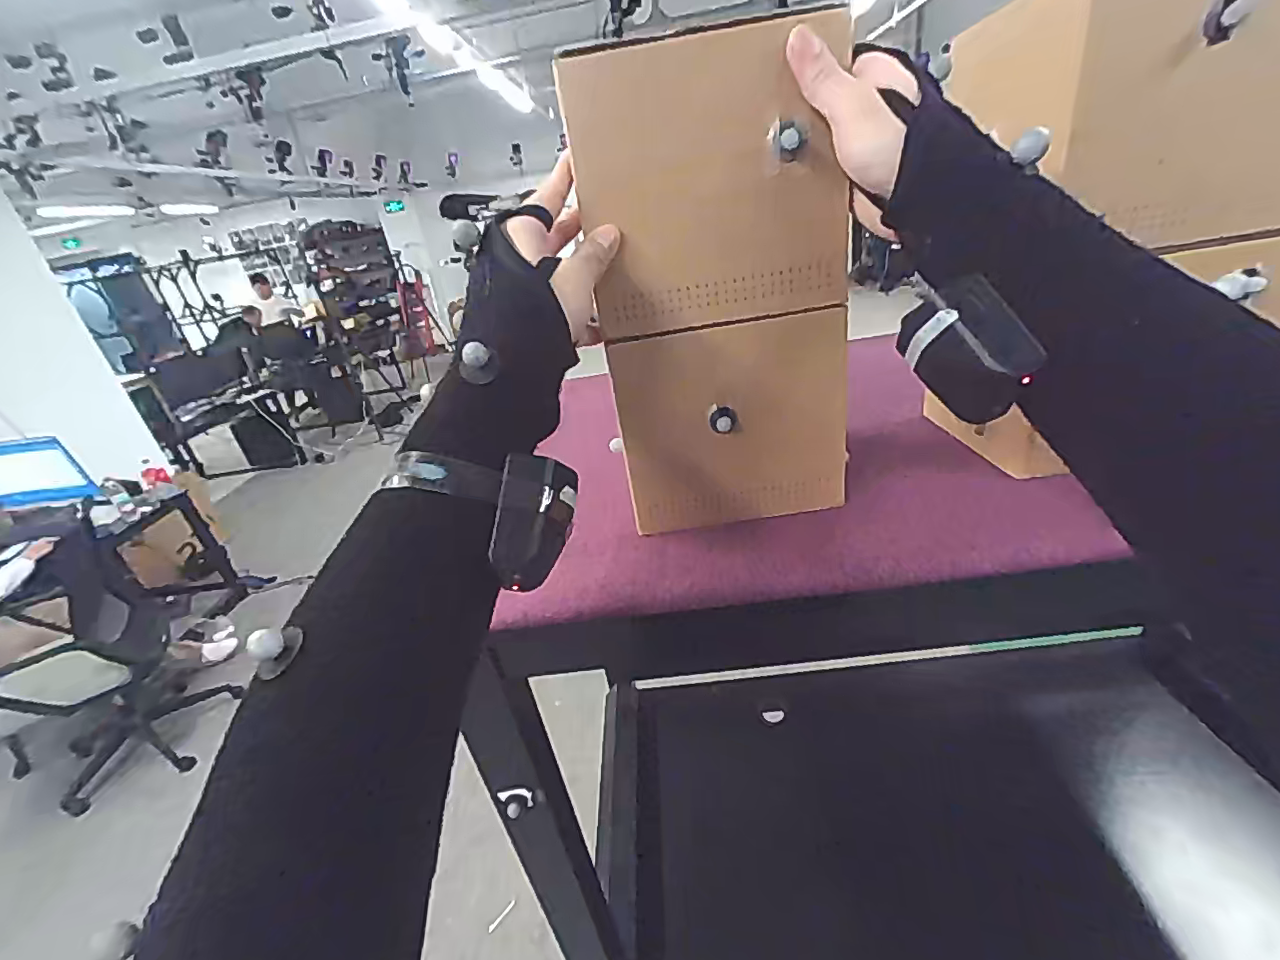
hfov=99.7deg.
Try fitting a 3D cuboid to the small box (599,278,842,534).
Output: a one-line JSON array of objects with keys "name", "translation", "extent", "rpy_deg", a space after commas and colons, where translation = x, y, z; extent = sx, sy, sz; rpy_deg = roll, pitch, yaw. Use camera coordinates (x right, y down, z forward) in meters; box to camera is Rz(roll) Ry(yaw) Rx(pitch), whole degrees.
[{"name": "small box", "translation": [0.067, -0.071, 0.488], "extent": [0.179, 0.176, 0.168], "rpy_deg": [-10, 26, 3]}]

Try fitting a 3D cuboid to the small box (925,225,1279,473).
[{"name": "small box", "translation": [0.372, -0.116, 0.472], "extent": [0.179, 0.176, 0.168], "rpy_deg": [-8, 26, 4]}]
